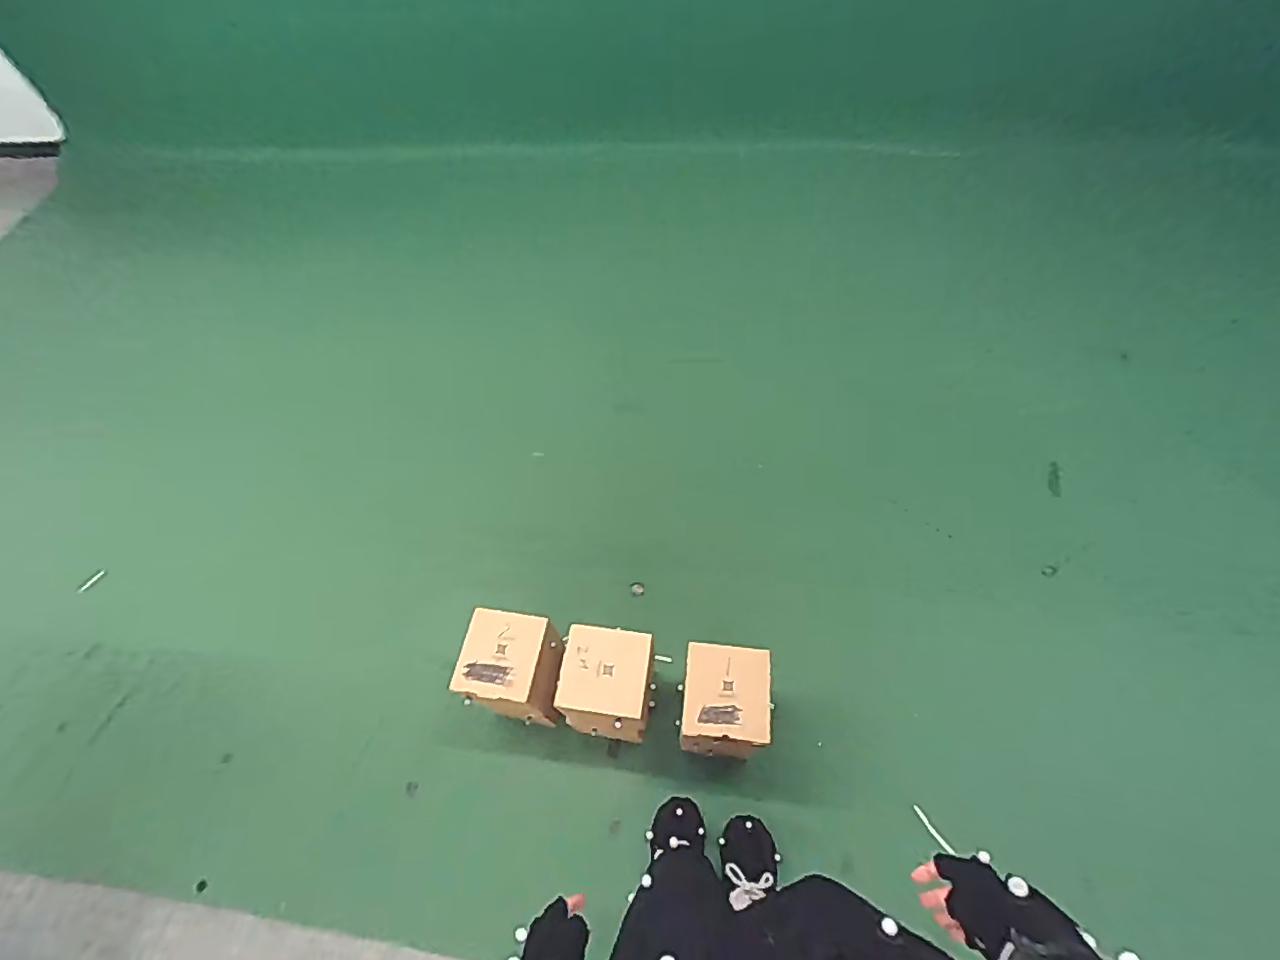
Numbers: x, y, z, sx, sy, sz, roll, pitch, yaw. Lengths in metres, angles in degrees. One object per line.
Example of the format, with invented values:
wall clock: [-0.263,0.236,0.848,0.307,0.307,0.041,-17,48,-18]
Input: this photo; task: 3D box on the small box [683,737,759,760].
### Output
small box: [0.189,0.541,1.264,0.168,0.176,0.179,5,60,8]

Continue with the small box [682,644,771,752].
small box: [0.178,0.456,1.123,0.168,0.176,0.179,4,59,7]

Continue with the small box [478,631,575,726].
small box: [-0.269,0.495,1.333,0.168,0.176,0.179,8,60,10]
